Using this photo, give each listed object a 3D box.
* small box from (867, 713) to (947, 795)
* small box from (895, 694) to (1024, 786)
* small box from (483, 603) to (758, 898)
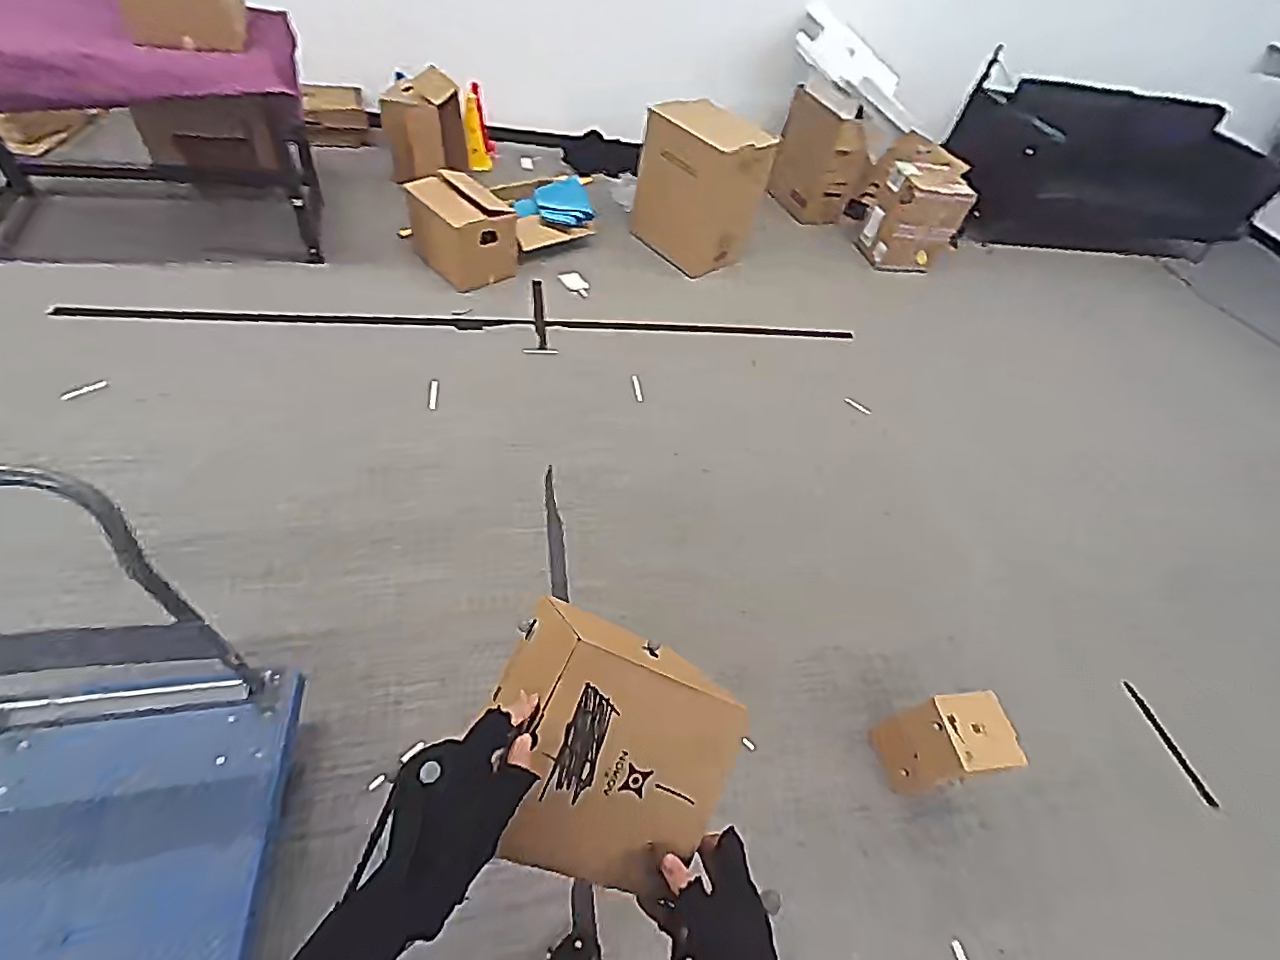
[{"bbox_3d":[0.751,0.730,1.454,0.168,0.176,0.179,-4,52,-17],"label":"small box"},{"bbox_3d":[0.769,0.636,1.321,0.179,0.176,0.168,2,51,-13],"label":"small box"},{"bbox_3d":[-0.031,0.229,0.503,0.179,0.176,0.168,29,81,-17],"label":"small box"}]
